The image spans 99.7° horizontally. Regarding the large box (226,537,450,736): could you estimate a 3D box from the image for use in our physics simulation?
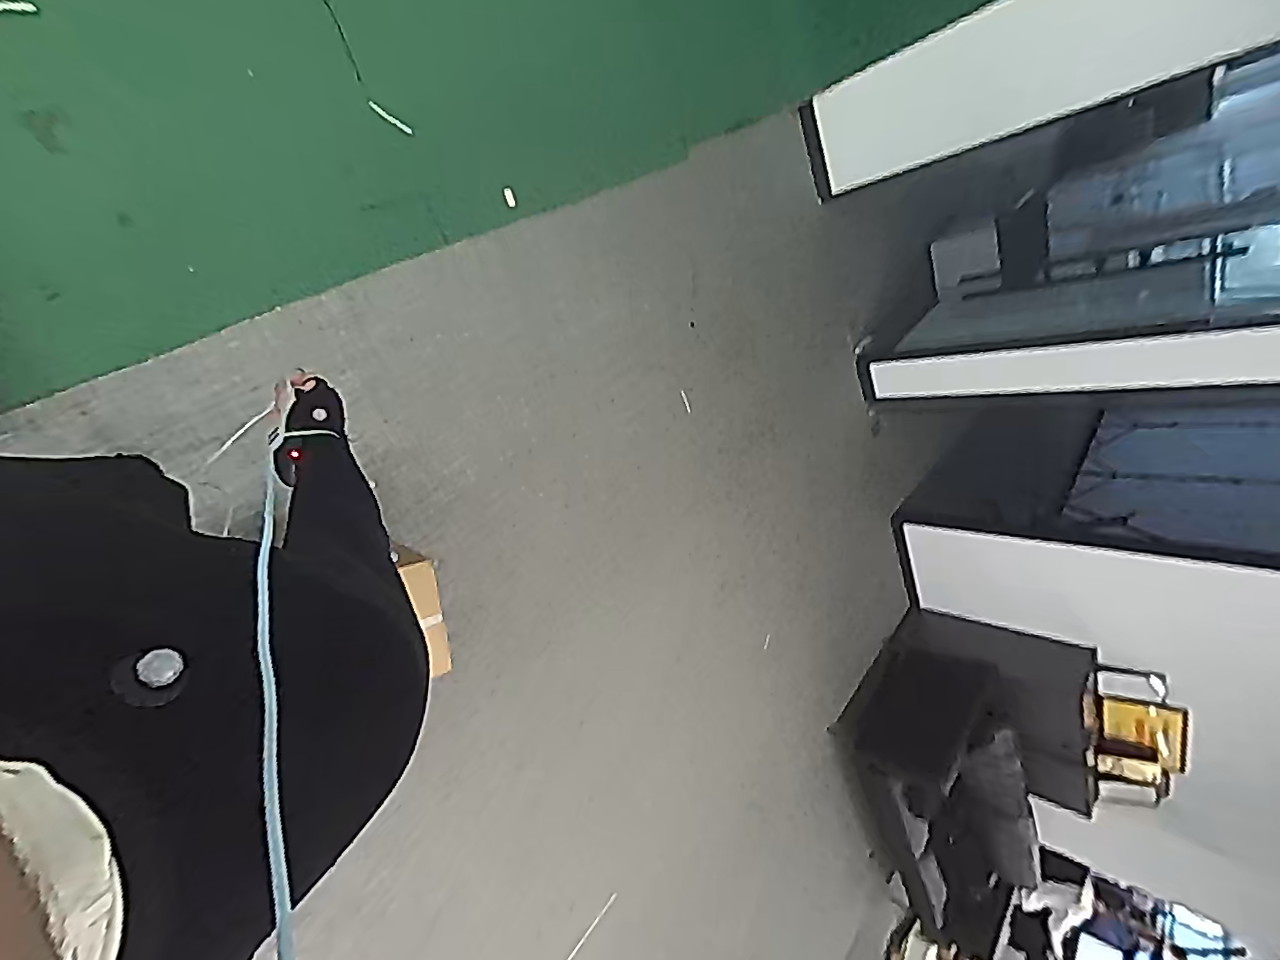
[{"bbox_3d":[-0.763,0.362,1.379,0.408,0.320,0.320,-15,105,-40],"label":"large box"}]
